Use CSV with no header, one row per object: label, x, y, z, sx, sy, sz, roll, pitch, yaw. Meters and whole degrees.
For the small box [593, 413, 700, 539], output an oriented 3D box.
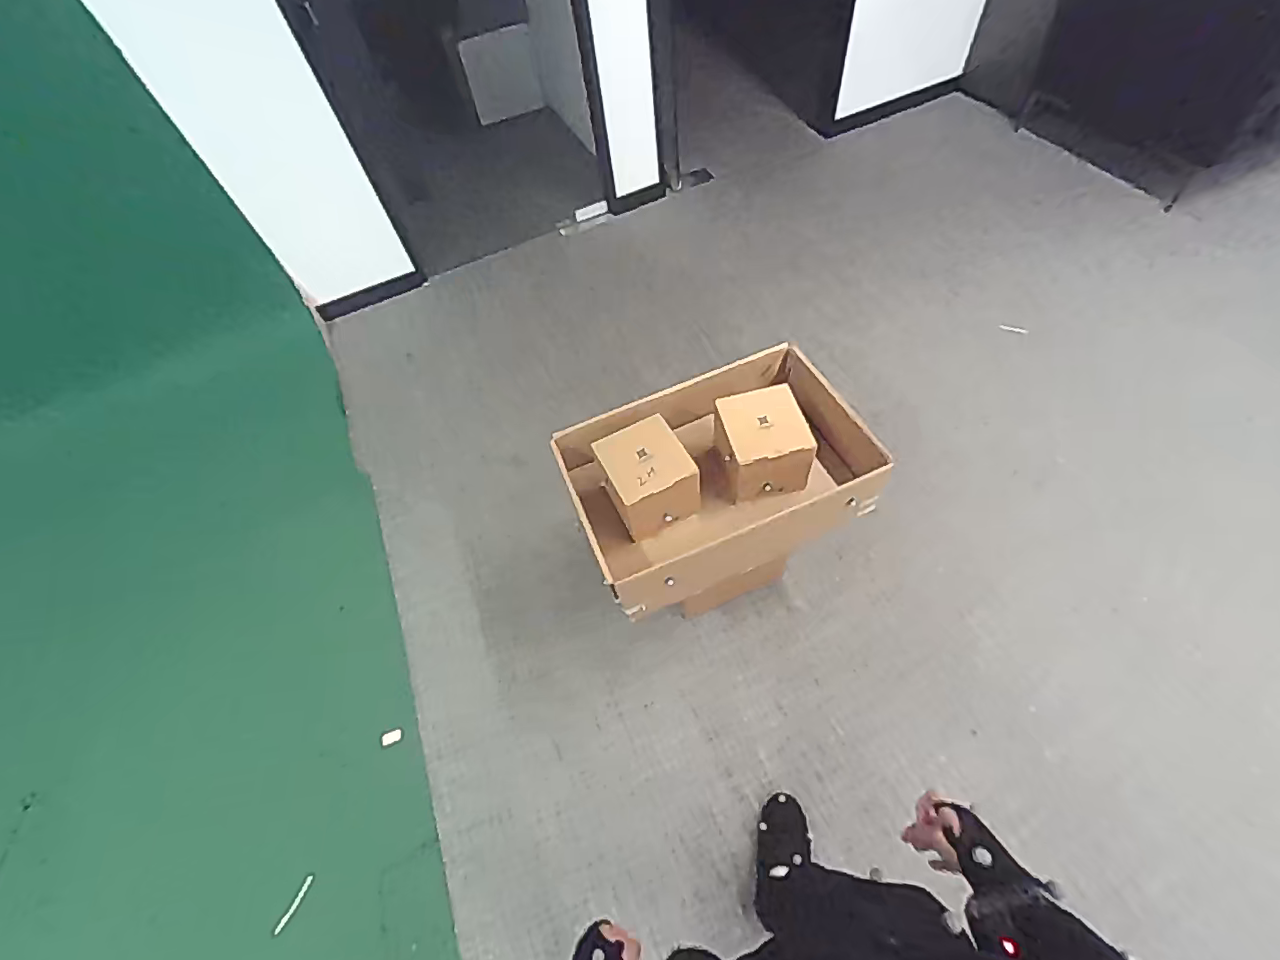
small box,0.015,-0.005,1.160,0.168,0.176,0.179,-25,58,-9
